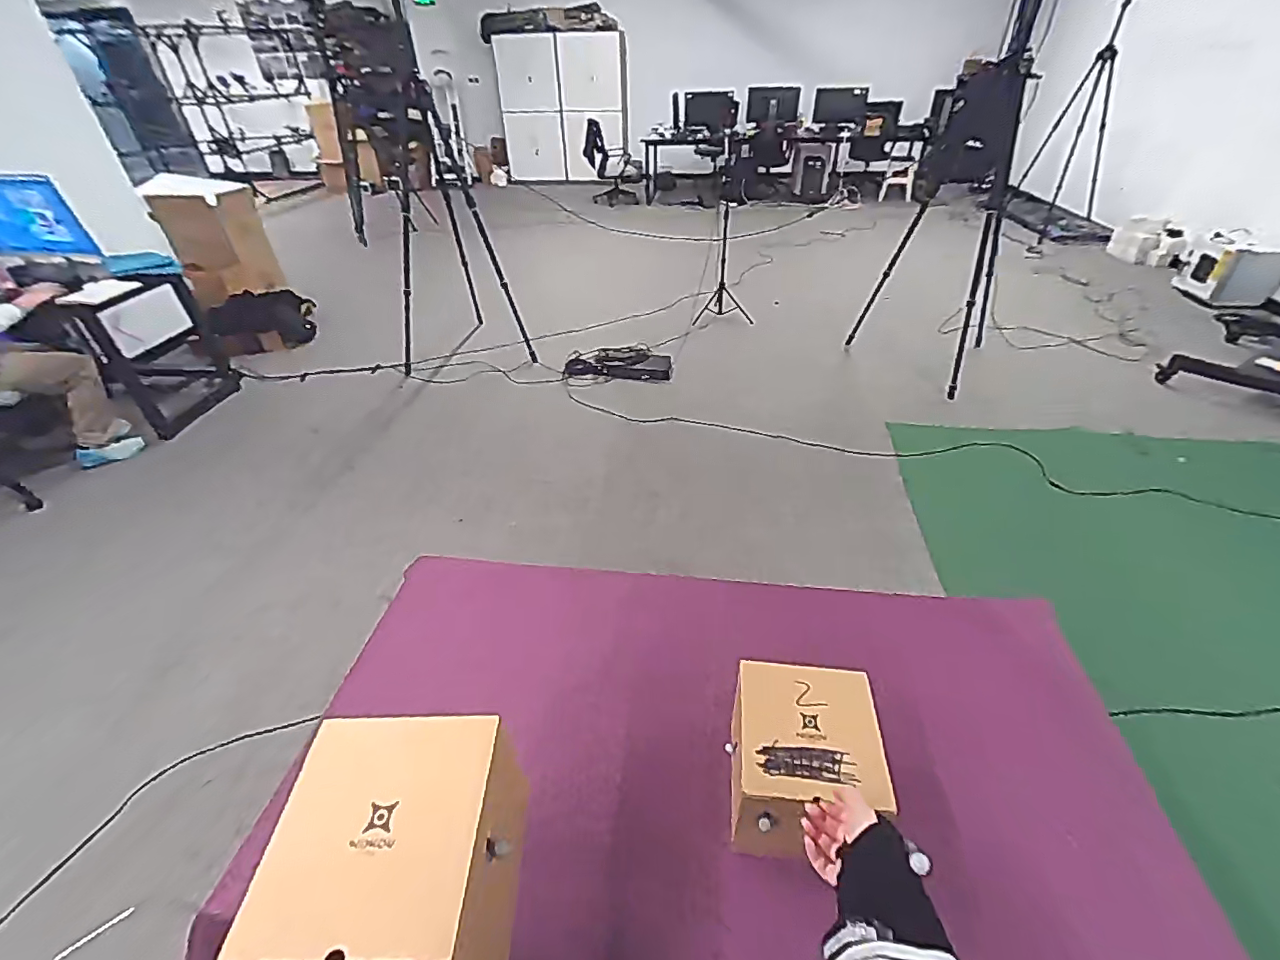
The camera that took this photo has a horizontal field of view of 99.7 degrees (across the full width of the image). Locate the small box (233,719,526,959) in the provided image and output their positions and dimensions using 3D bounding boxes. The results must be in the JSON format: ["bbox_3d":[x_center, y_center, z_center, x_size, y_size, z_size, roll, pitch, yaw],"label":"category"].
[{"bbox_3d":[-0.208,0.345,0.497,0.168,0.176,0.179,-2,41,1],"label":"small box"}]
